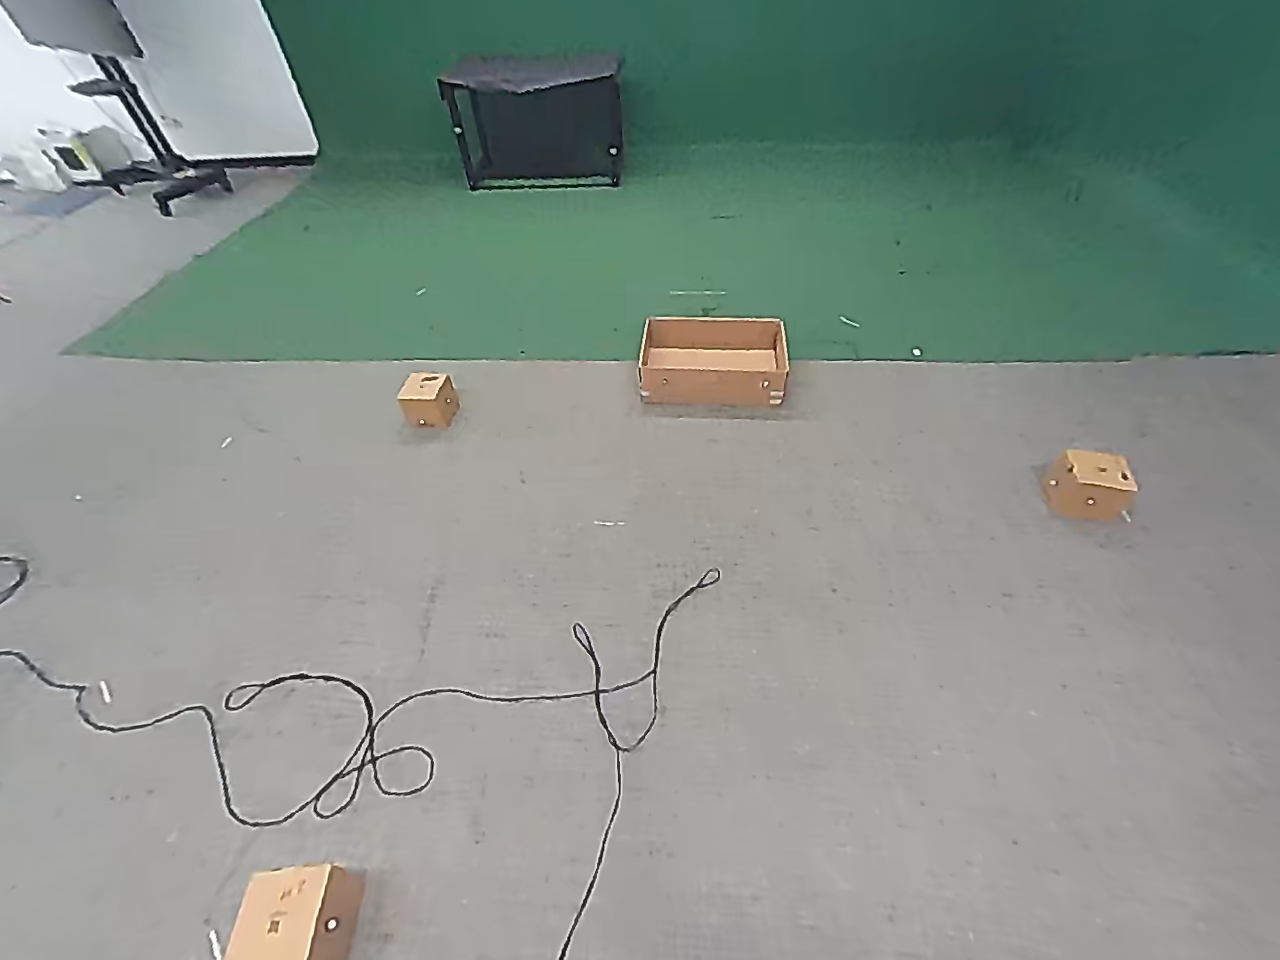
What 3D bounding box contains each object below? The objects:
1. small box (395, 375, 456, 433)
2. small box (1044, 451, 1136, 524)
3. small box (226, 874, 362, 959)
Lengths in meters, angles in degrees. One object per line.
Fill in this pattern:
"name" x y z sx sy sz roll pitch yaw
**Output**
"small box" -0.900 -0.323 2.292 0.168 0.176 0.179 2 48 5
"small box" 1.498 0.028 1.817 0.179 0.176 0.168 10 48 13
"small box" -0.697 0.929 1.101 0.168 0.176 0.179 -6 46 -1
